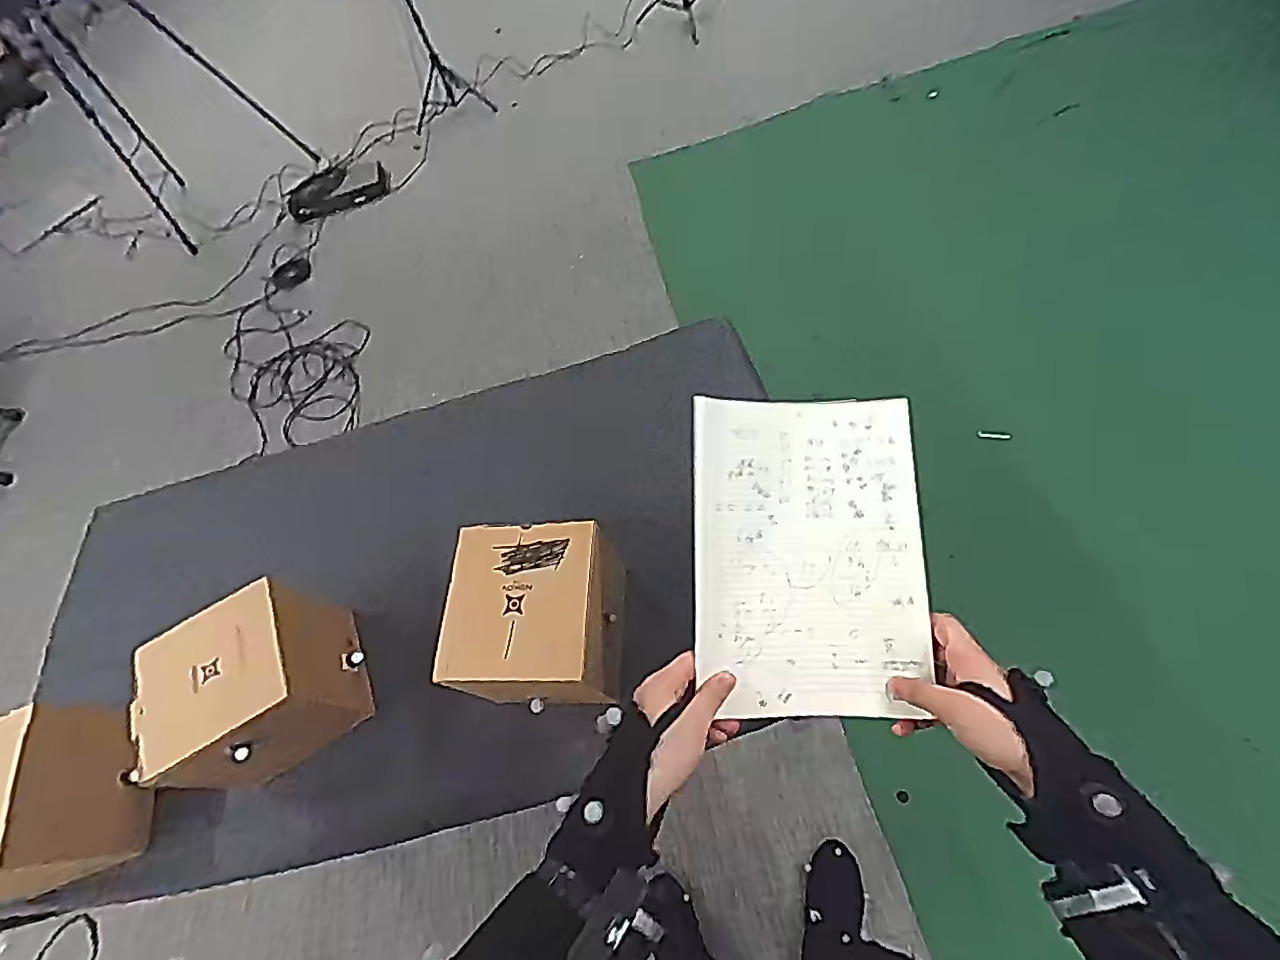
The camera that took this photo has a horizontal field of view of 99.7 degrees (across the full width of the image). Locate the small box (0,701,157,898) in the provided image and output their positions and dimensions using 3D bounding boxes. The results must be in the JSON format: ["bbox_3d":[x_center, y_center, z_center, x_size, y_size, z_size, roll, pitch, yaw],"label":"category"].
[{"bbox_3d":[-0.750,0.401,0.673,0.168,0.176,0.179,-21,60,0],"label":"small box"}]

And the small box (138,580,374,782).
[{"bbox_3d":[-0.481,0.261,0.691,0.179,0.176,0.168,-31,60,-5],"label":"small box"}]

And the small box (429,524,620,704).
[{"bbox_3d":[-0.123,0.168,0.659,0.168,0.176,0.179,-4,61,11],"label":"small box"}]
